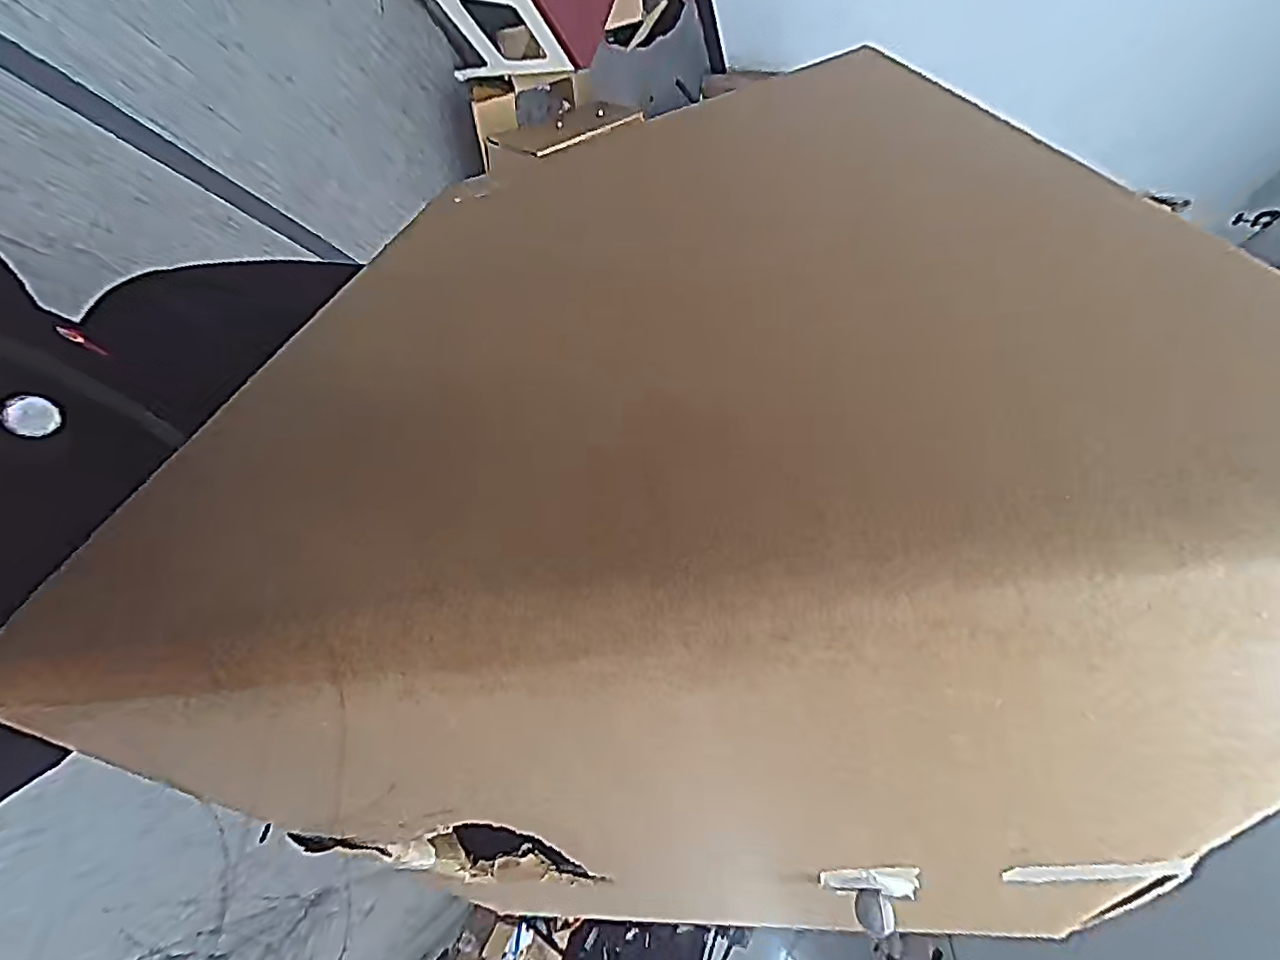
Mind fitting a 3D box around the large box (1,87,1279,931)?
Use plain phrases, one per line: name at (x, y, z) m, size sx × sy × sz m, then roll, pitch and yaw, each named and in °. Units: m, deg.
large box at (0.023, 0.000, 0.348) m, size 0.408 × 0.320 × 0.320 m, roll -83°, pitch 160°, yaw -46°
